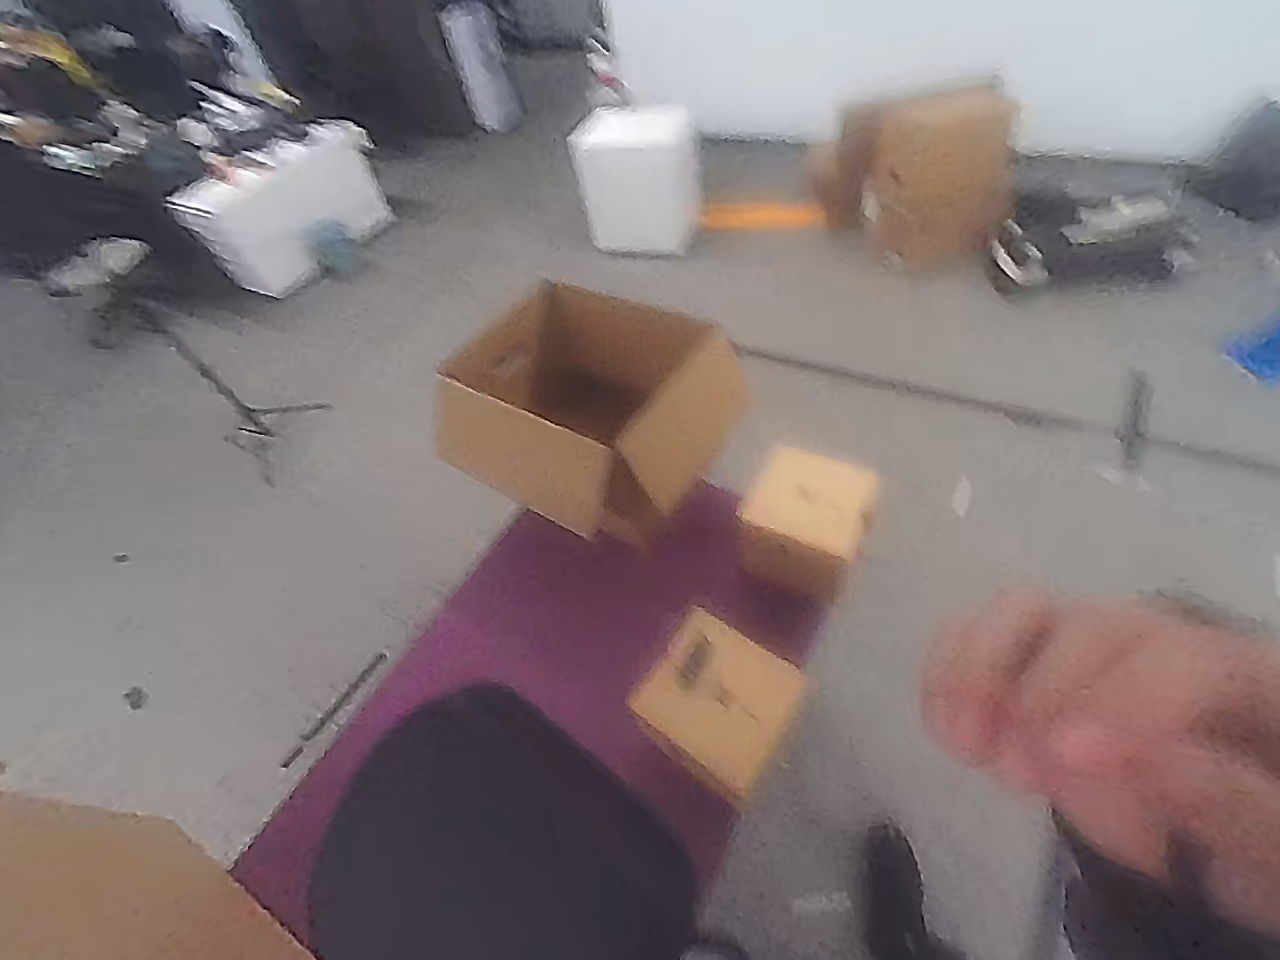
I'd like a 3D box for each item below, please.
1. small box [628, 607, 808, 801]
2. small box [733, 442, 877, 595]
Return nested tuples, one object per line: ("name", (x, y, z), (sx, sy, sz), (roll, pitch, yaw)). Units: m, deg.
("small box", (0.110, 0.316, 0.754), (0.179, 0.176, 0.168), (27, 63, 27))
("small box", (0.272, 0.067, 0.907), (0.179, 0.176, 0.168), (20, 61, 25))
